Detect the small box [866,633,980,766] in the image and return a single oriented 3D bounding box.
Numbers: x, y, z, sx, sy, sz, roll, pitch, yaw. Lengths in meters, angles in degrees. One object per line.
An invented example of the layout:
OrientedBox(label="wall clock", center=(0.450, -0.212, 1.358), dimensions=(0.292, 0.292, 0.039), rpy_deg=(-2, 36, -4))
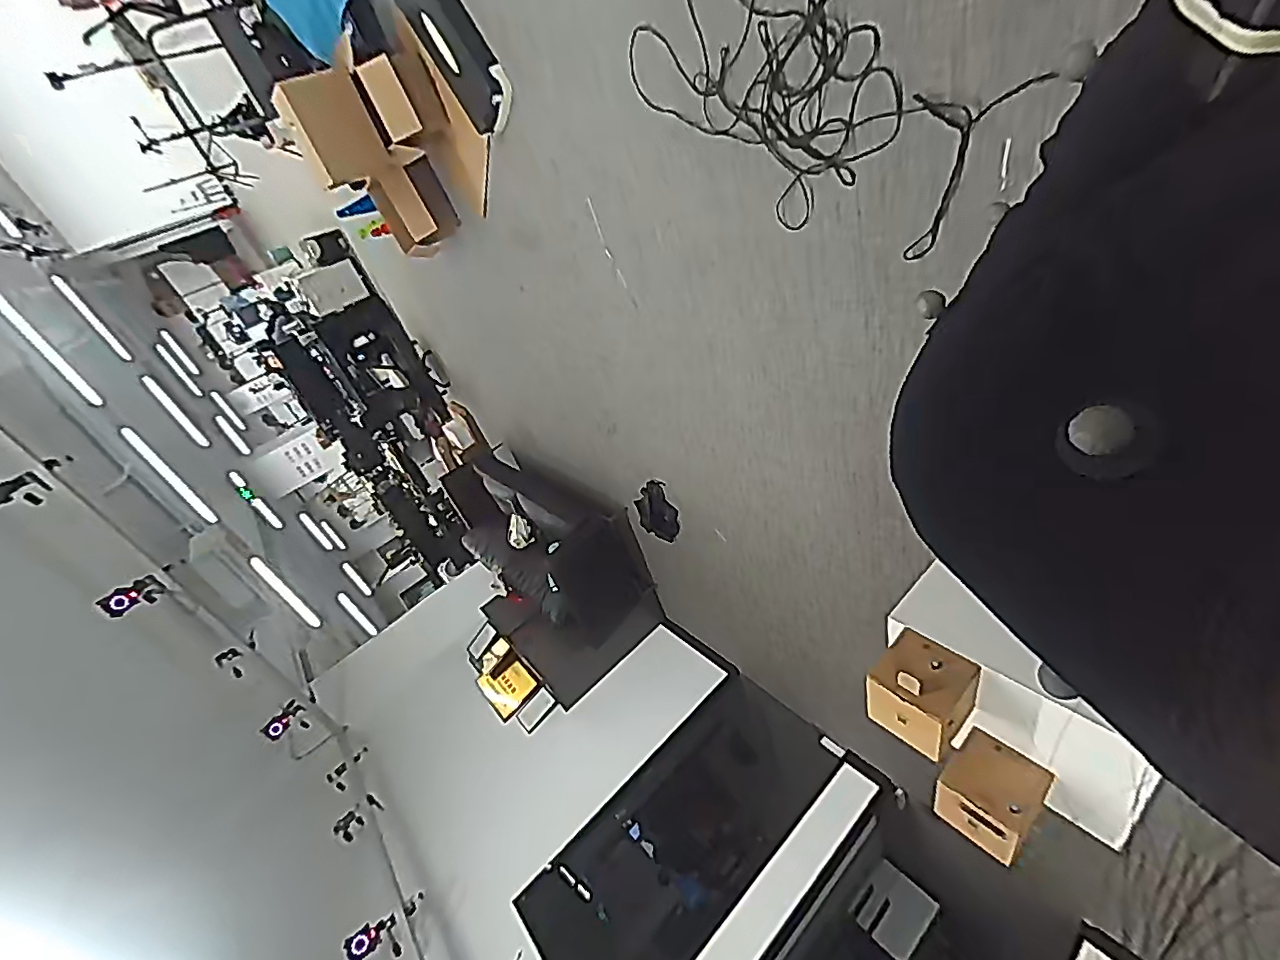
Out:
OrientedBox(label="small box", center=(0.627, 0.480, 1.201), dimensions=(0.168, 0.176, 0.179), rpy_deg=(27, 146, 46))
